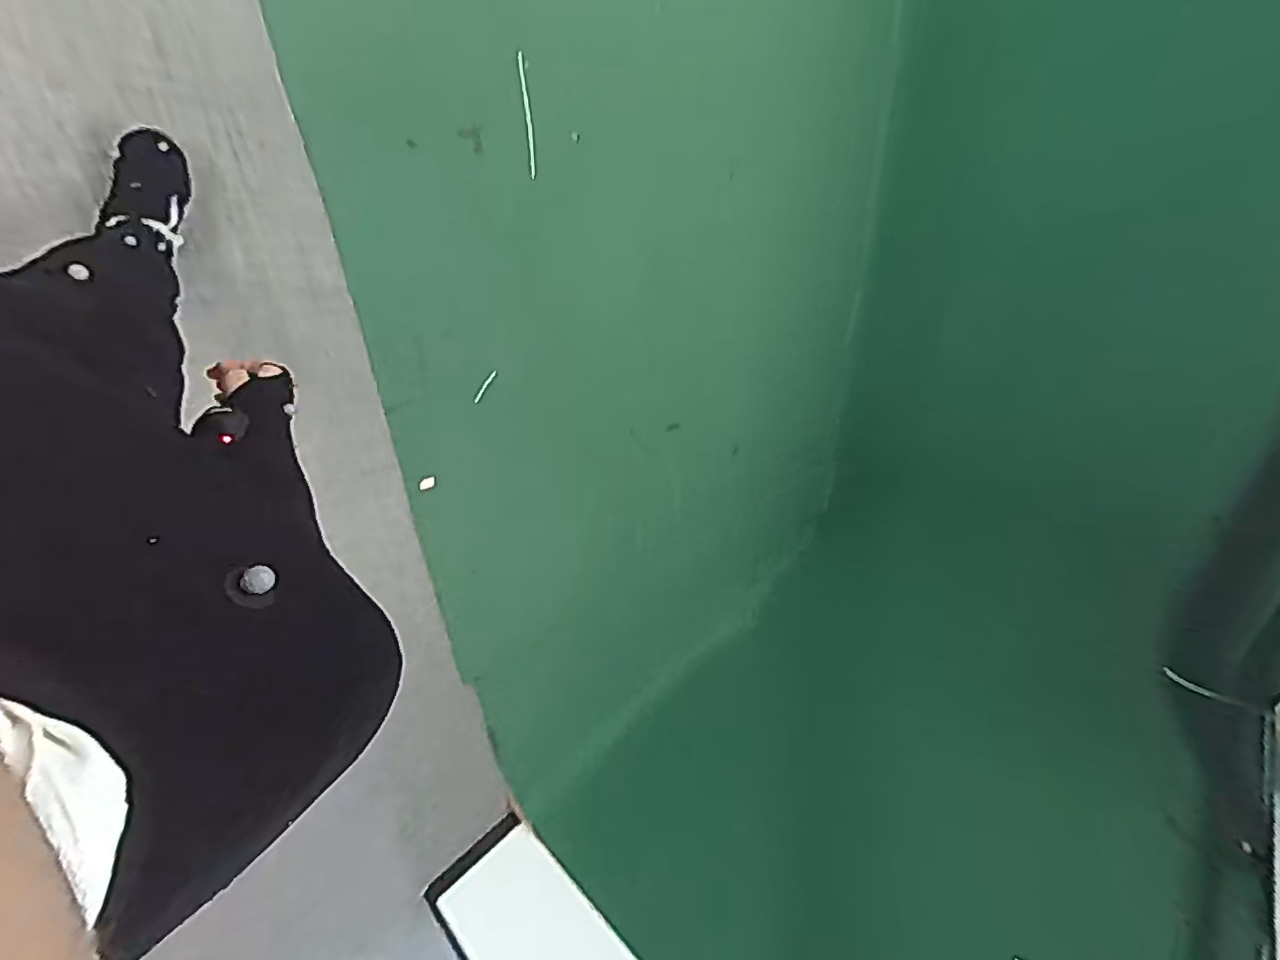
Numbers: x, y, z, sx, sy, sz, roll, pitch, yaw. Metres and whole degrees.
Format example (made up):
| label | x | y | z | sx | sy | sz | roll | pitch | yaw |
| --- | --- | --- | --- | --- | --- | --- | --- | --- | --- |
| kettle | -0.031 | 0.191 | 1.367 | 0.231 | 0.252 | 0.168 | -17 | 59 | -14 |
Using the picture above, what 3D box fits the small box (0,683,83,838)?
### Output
| label | x | y | z | sx | sy | sz | roll | pitch | yaw |
| --- | --- | --- | --- | --- | --- | --- | --- | --- | --- |
| small box | -1.093 | 0.486 | 0.925 | 0.179 | 0.176 | 0.168 | -11 | 117 | -48 |
